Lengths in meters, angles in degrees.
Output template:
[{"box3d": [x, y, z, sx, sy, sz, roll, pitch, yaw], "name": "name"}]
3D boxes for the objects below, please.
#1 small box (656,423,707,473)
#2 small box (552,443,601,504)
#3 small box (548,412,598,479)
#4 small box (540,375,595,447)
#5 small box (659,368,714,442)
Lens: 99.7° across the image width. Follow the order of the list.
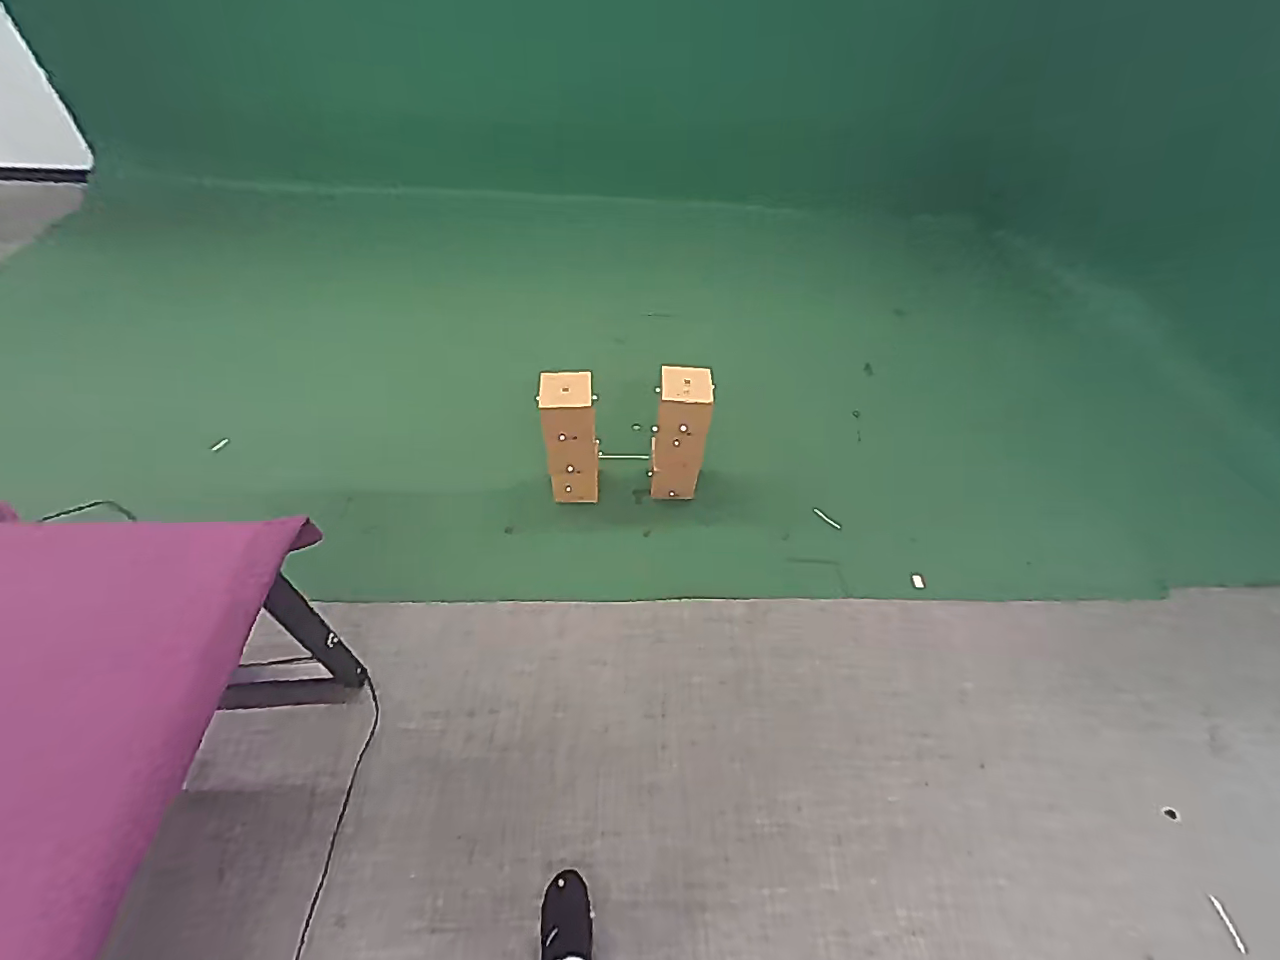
[{"box3d": [0.146, -0.150, 1.955, 0.168, 0.176, 0.179, 3, 49, -1], "name": "small box"}, {"box3d": [-0.234, -0.022, 2.039, 0.168, 0.176, 0.179, 1, 48, -3], "name": "small box"}, {"box3d": [-0.235, -0.124, 1.910, 0.168, 0.176, 0.179, -2, 50, -4], "name": "small box"}, {"box3d": [-0.235, -0.229, 1.786, 0.168, 0.176, 0.179, -2, 49, -4], "name": "small box"}, {"box3d": [0.153, -0.254, 1.827, 0.168, 0.176, 0.179, 3, 50, -1], "name": "small box"}]
